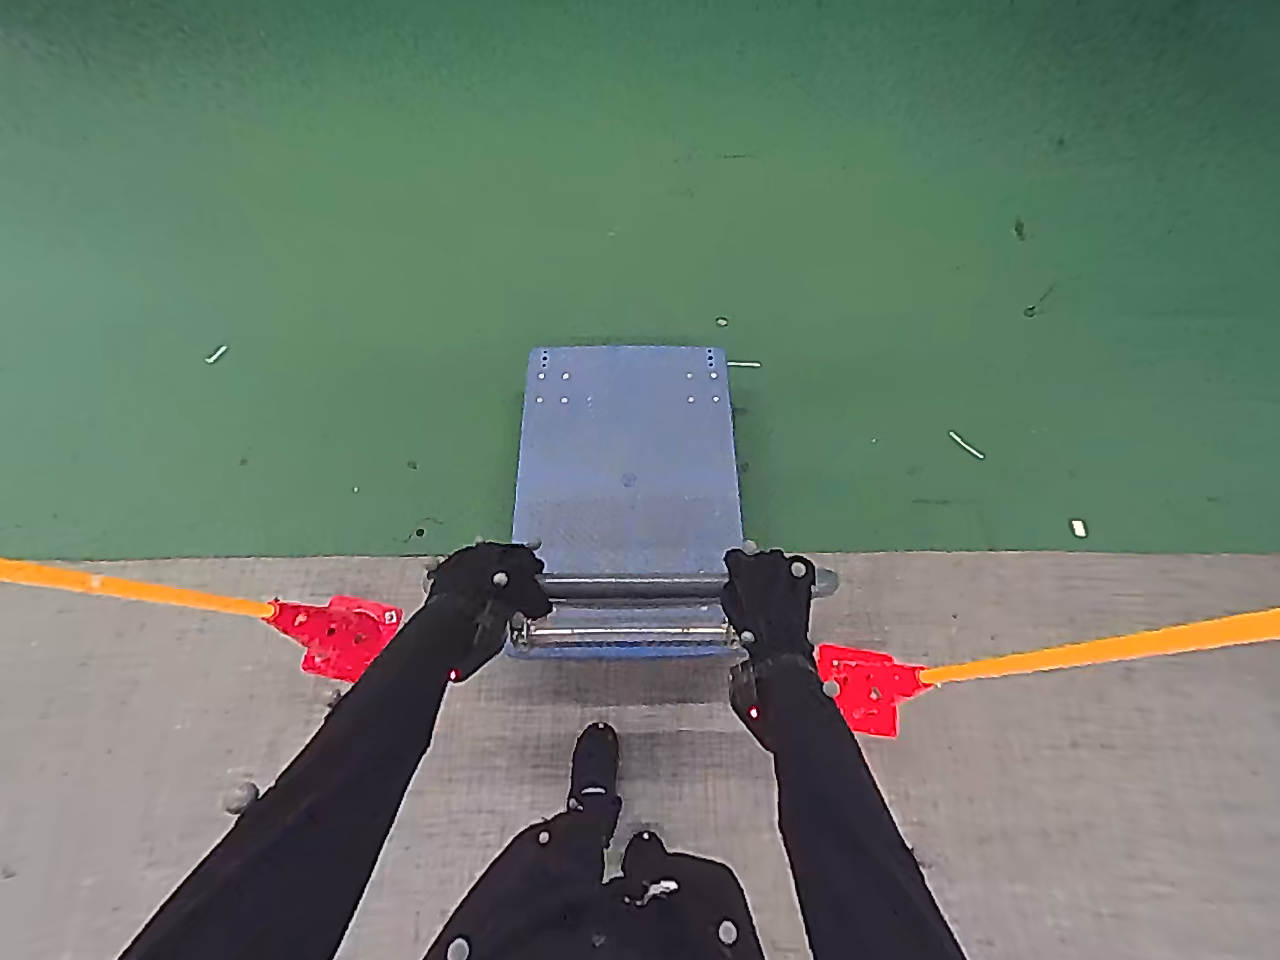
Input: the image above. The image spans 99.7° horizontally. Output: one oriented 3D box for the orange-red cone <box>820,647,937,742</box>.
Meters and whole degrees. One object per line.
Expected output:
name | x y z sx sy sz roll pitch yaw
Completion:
orange-red cone | 0.552 0.459 1.194 0.198 0.360 0.199 10 65 4
